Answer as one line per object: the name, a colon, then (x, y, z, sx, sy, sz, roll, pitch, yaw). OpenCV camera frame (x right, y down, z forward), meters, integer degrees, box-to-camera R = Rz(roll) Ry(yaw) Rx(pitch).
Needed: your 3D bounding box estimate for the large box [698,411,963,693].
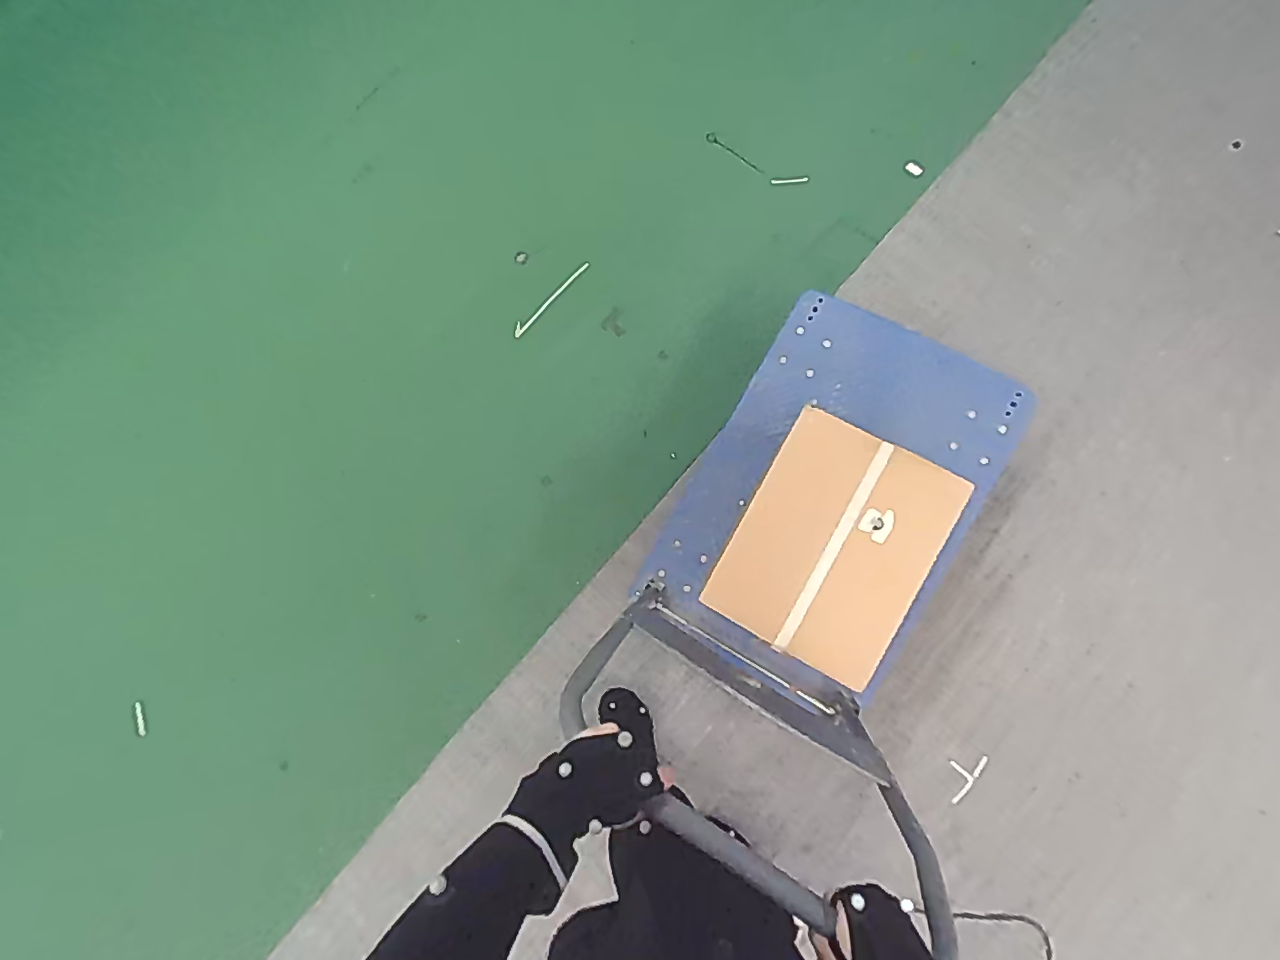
large box: (0.348, 0.135, 1.086, 0.320, 0.320, 0.408, 29, 89, 9)
